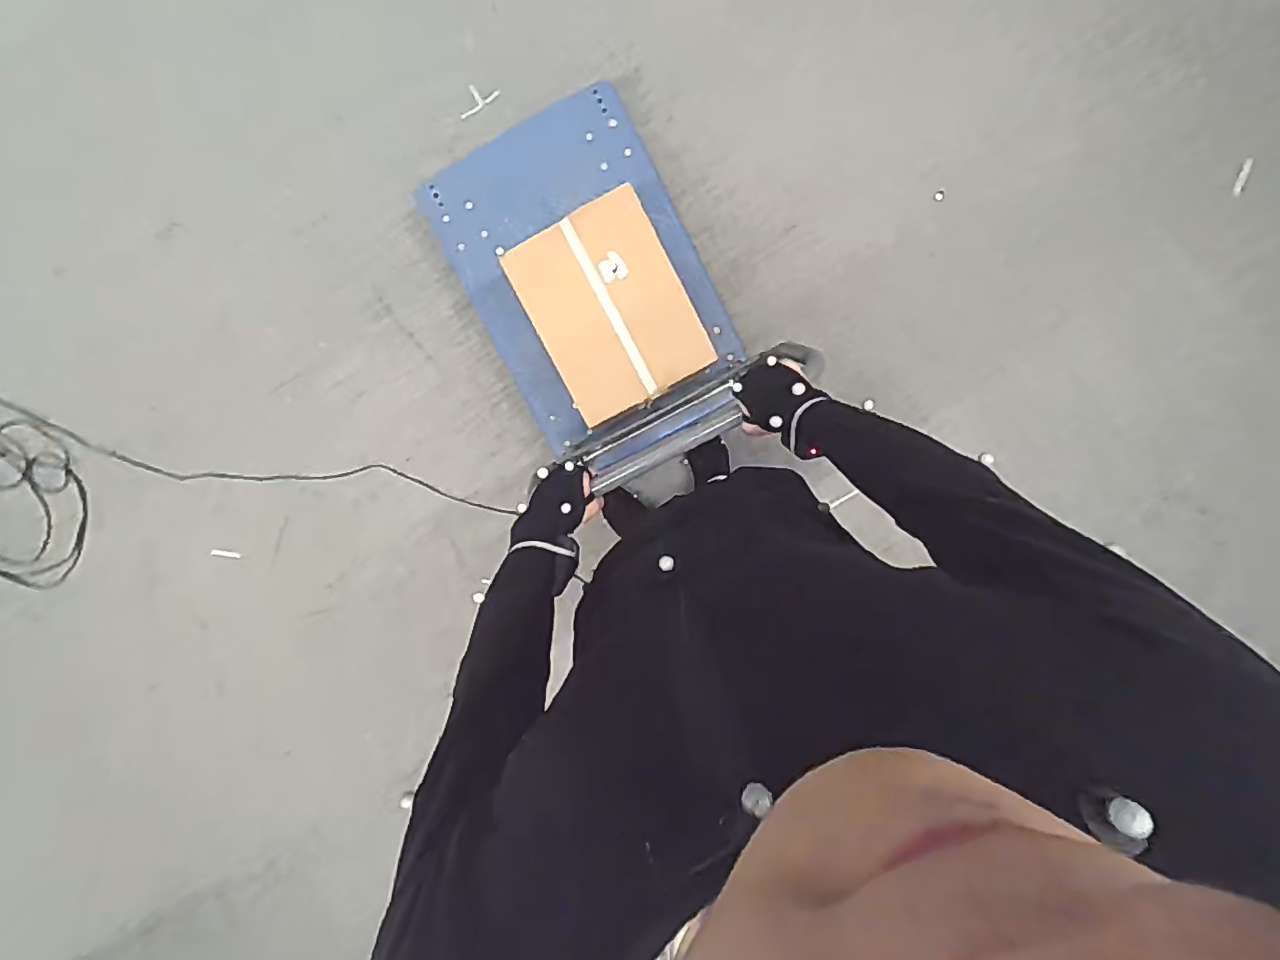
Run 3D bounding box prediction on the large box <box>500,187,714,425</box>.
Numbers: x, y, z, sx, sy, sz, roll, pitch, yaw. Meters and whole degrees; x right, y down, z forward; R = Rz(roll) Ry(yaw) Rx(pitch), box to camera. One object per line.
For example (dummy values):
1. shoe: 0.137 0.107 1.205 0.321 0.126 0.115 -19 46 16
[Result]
1. large box: -0.060 -0.376 1.282 0.320 0.320 0.408 -27 94 4
